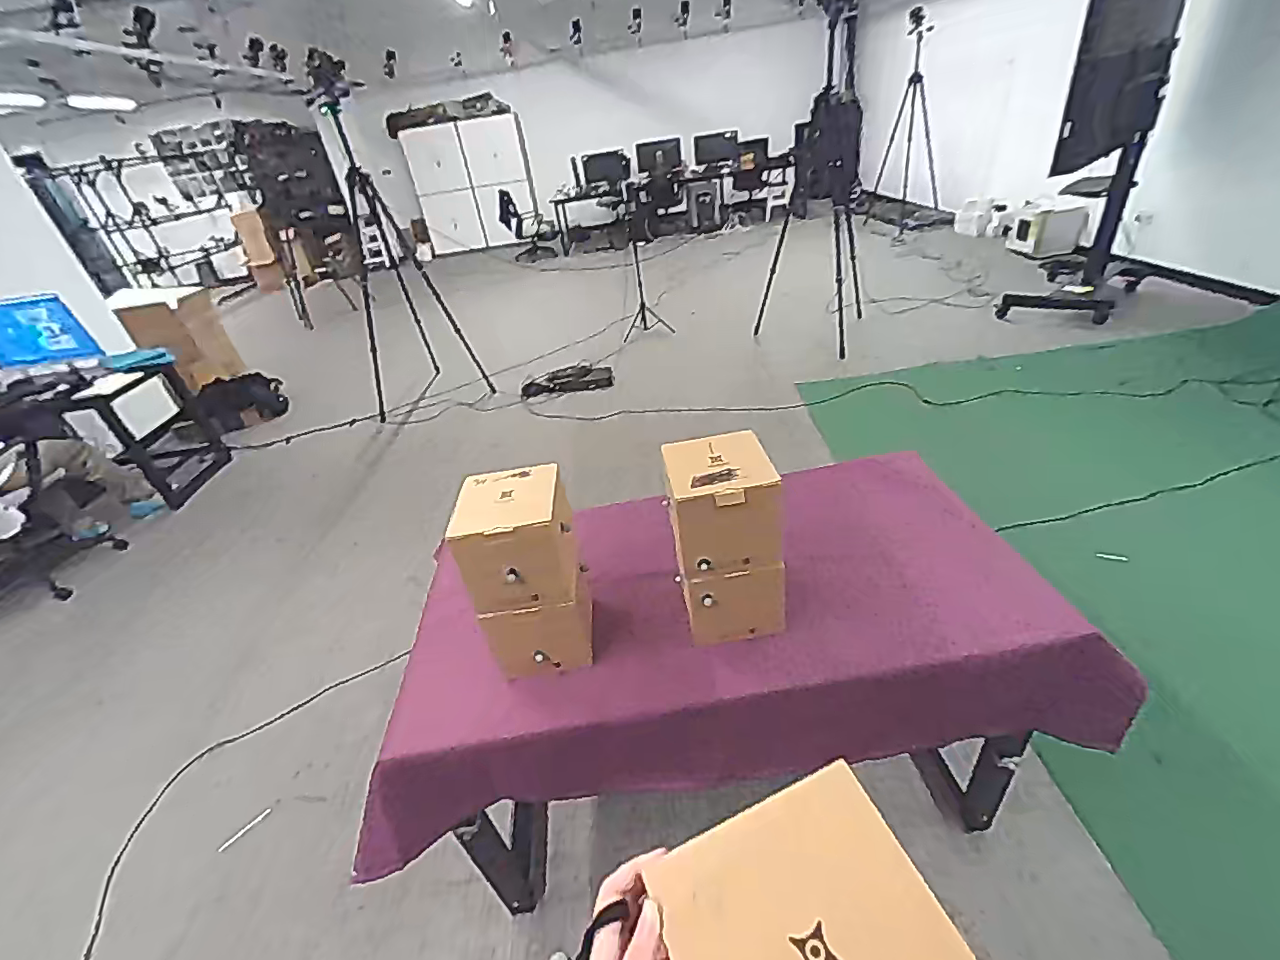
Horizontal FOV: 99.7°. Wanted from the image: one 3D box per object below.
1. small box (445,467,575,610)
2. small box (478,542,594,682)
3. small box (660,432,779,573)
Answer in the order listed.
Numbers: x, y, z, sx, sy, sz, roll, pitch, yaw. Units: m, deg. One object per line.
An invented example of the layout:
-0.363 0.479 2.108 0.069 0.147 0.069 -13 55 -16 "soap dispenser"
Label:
-0.207 0.104 0.919 0.168 0.176 0.179 -9 33 0 "small box"
-0.183 0.243 1.006 0.168 0.176 0.179 -10 33 1 "small box"
0.135 0.042 0.923 0.168 0.176 0.179 -10 32 -1 "small box"
